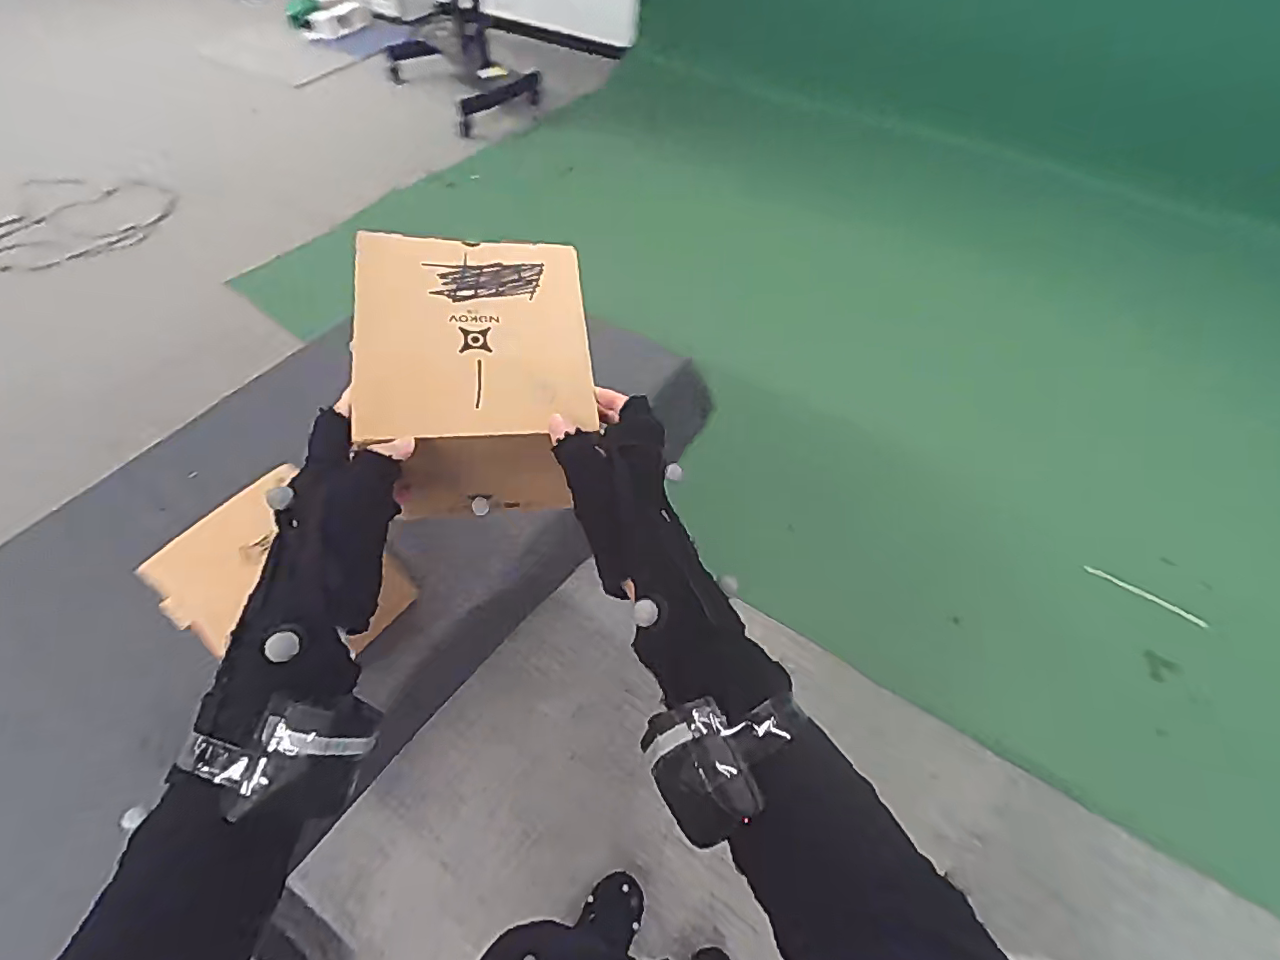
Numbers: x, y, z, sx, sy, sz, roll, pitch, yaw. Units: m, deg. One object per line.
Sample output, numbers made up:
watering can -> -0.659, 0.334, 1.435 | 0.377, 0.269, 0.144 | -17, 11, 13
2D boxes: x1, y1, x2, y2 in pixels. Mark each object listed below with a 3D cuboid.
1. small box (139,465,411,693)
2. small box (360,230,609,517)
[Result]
small box -> -0.413, 0.122, 0.644 | 0.168, 0.176, 0.179 | 30, 60, 20
small box -> -0.132, -0.082, 0.467 | 0.168, 0.176, 0.179 | -5, 68, -16
